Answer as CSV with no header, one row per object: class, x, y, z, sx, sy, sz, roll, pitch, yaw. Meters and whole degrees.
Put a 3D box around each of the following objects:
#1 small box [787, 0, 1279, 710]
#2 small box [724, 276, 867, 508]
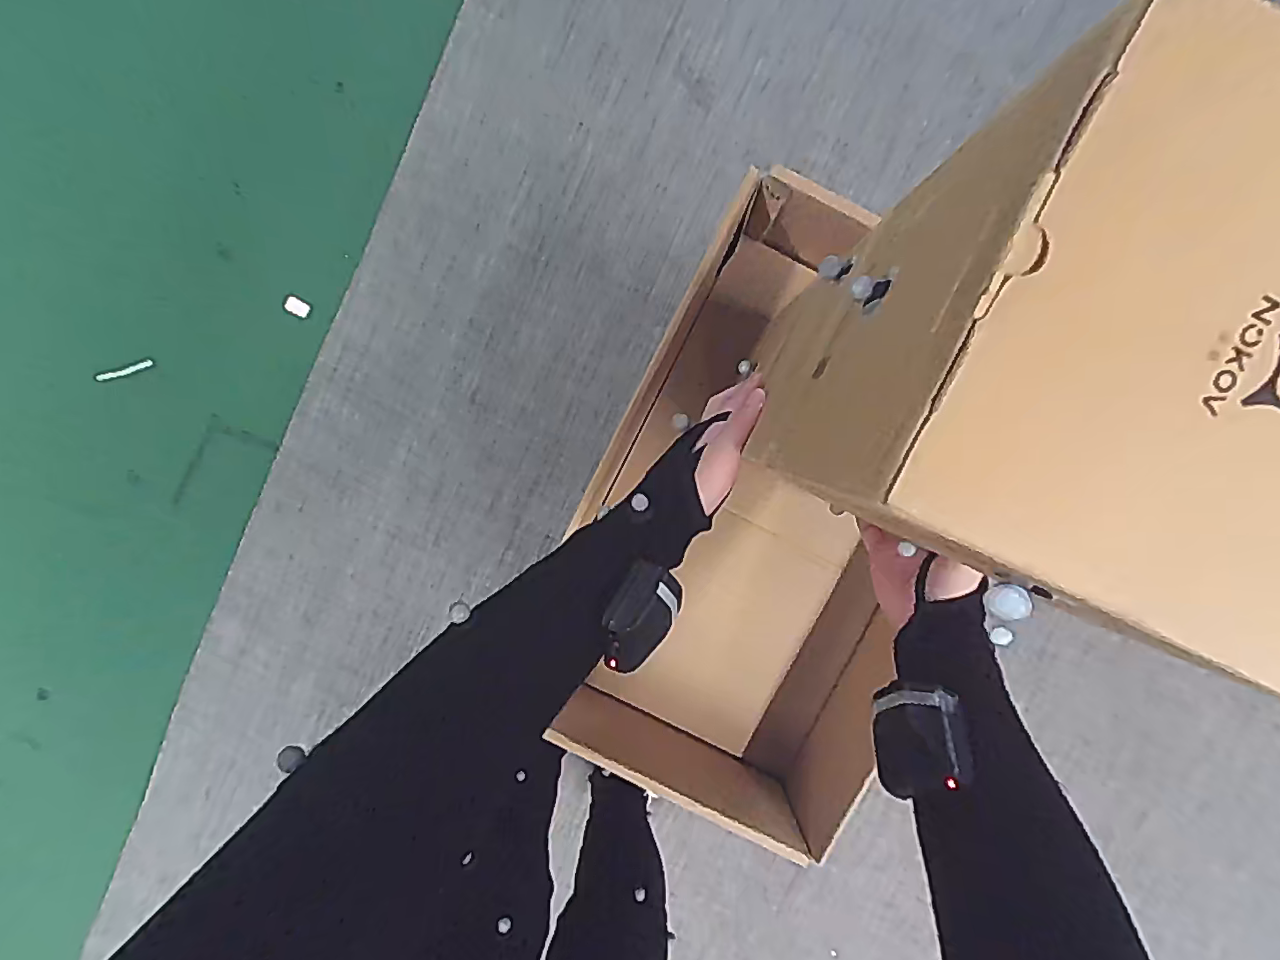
small box,0.191,-0.034,0.233,0.179,0.176,0.168,26,96,-1
small box,0.206,-0.076,0.556,0.179,0.176,0.168,27,95,-1
